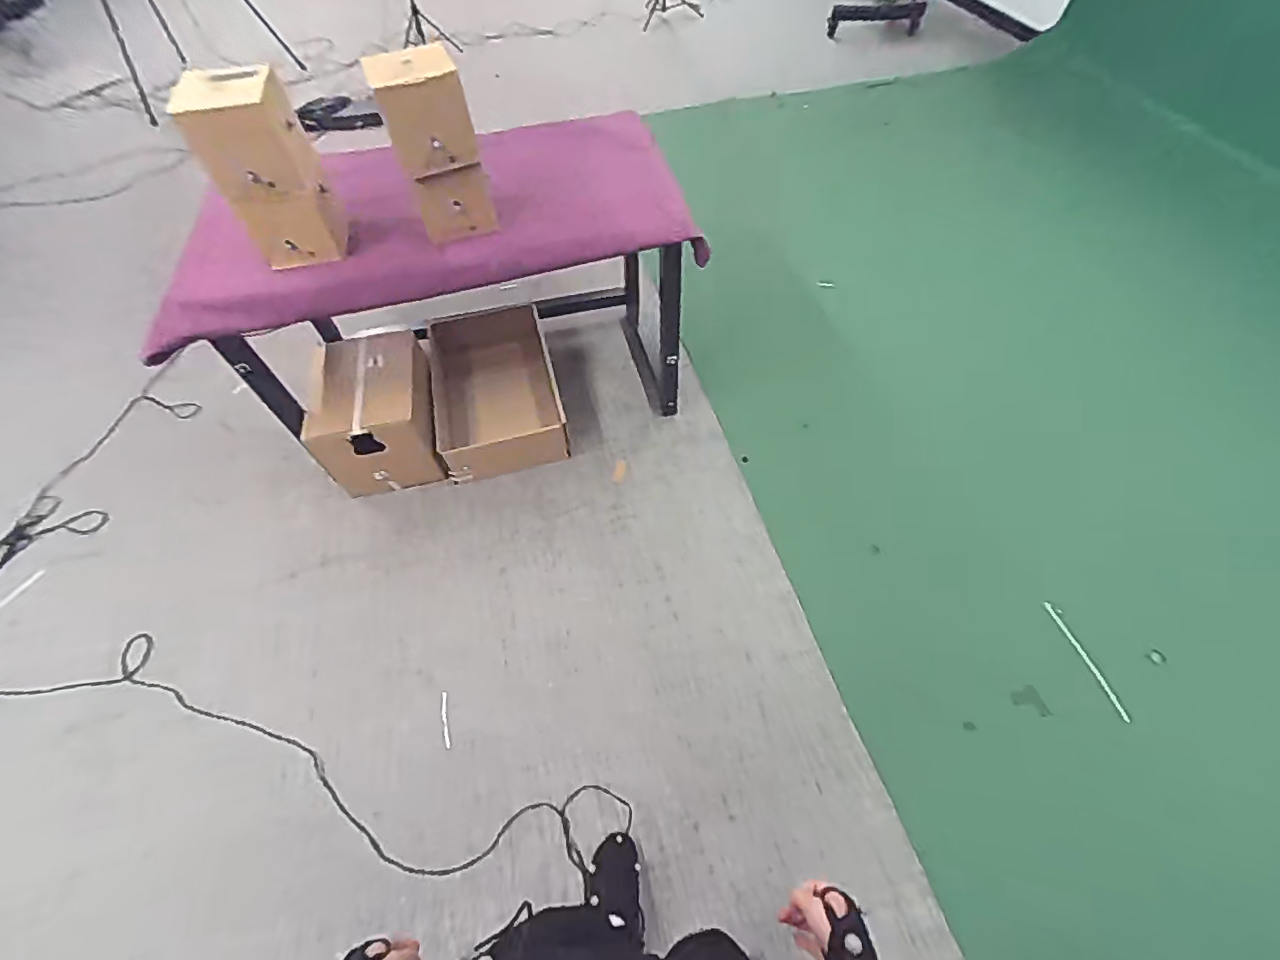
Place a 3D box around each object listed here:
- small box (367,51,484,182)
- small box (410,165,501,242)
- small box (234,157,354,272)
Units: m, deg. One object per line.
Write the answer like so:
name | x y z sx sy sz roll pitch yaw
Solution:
small box | -0.444 -0.760 1.134 0.168 0.176 0.179 -22 57 -11
small box | -0.438 -0.687 1.284 0.168 0.176 0.179 -16 56 -9
small box | -0.783 -0.609 1.246 0.168 0.176 0.179 -11 57 -6
